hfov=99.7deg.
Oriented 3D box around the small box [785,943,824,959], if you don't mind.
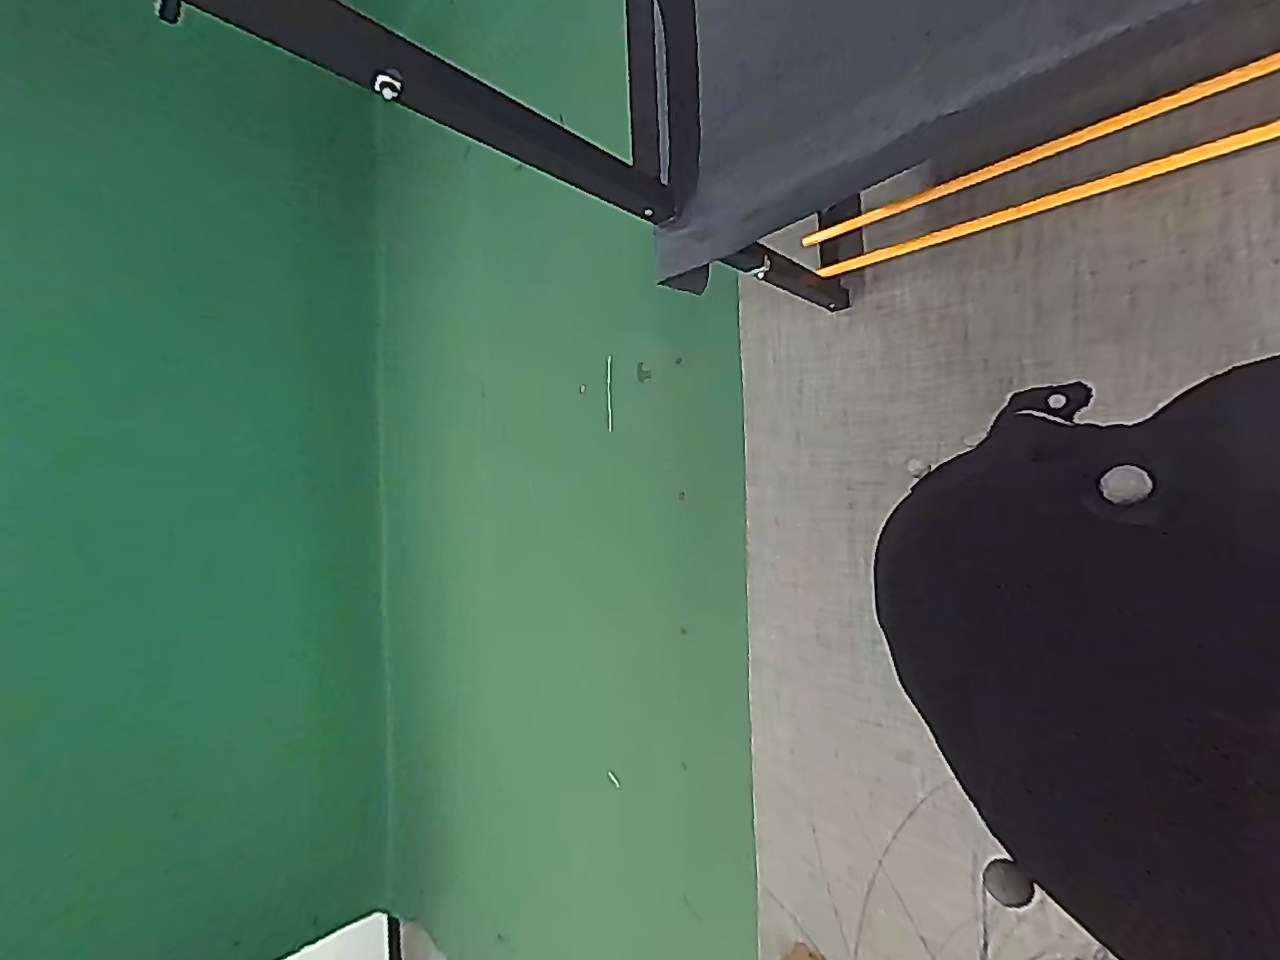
[{"bbox_3d":[0.489,1.502,1.553,0.168,0.176,0.179,-1,89,46],"label":"small box"}]
